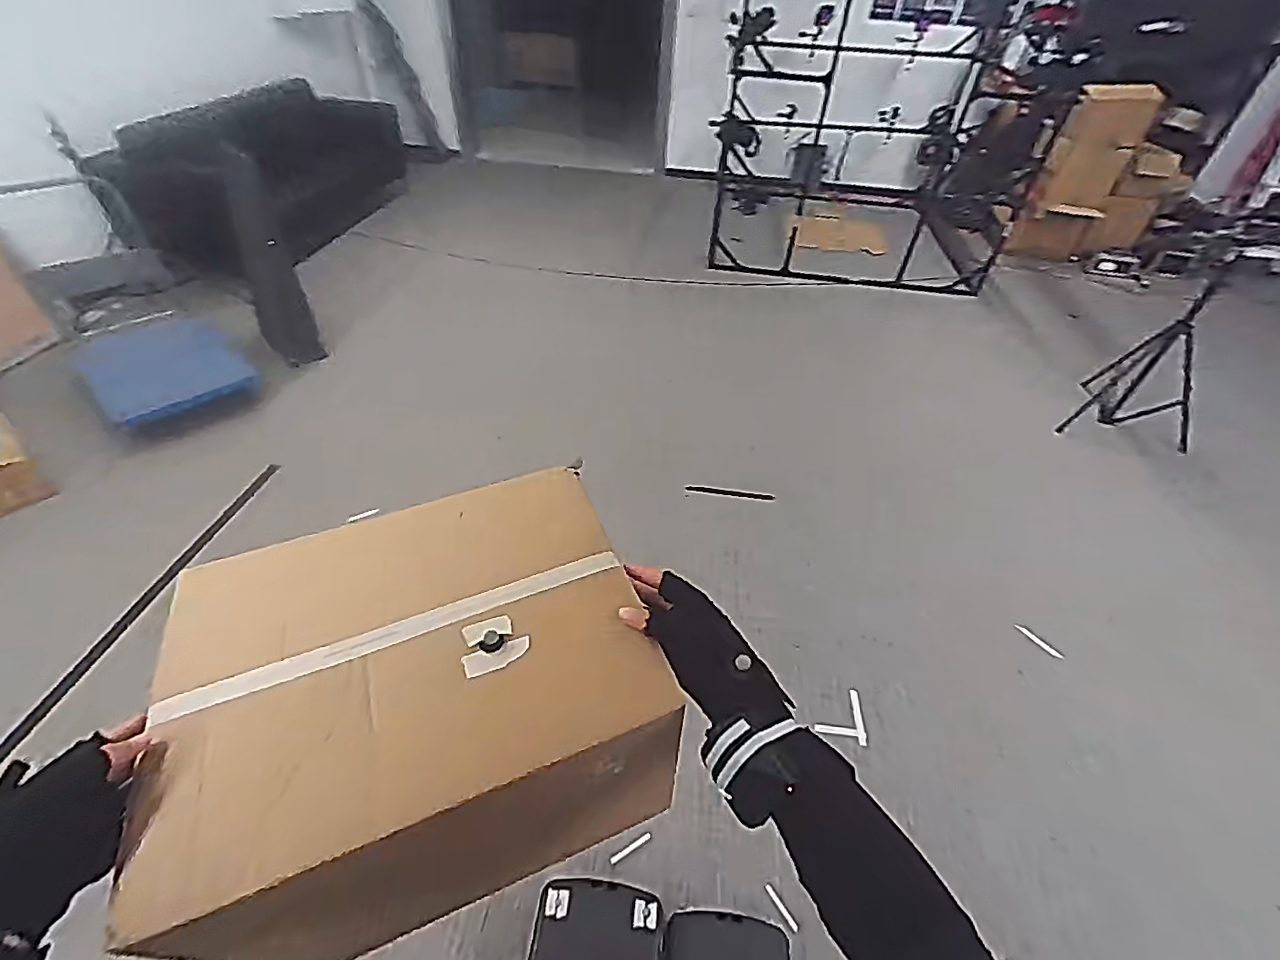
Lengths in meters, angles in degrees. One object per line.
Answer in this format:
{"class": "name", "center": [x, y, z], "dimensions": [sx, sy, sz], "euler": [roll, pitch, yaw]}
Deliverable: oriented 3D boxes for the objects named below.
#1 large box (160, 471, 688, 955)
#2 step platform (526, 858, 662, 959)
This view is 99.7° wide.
{"class": "large box", "center": [-0.198, 0.244, 0.614], "dimensions": [0.408, 0.320, 0.320], "euler": [-15, 48, -16]}
{"class": "step platform", "center": [-0.123, 1.171, 1.075], "dimensions": [0.286, 0.204, 0.684], "euler": [6, 43, 3]}
